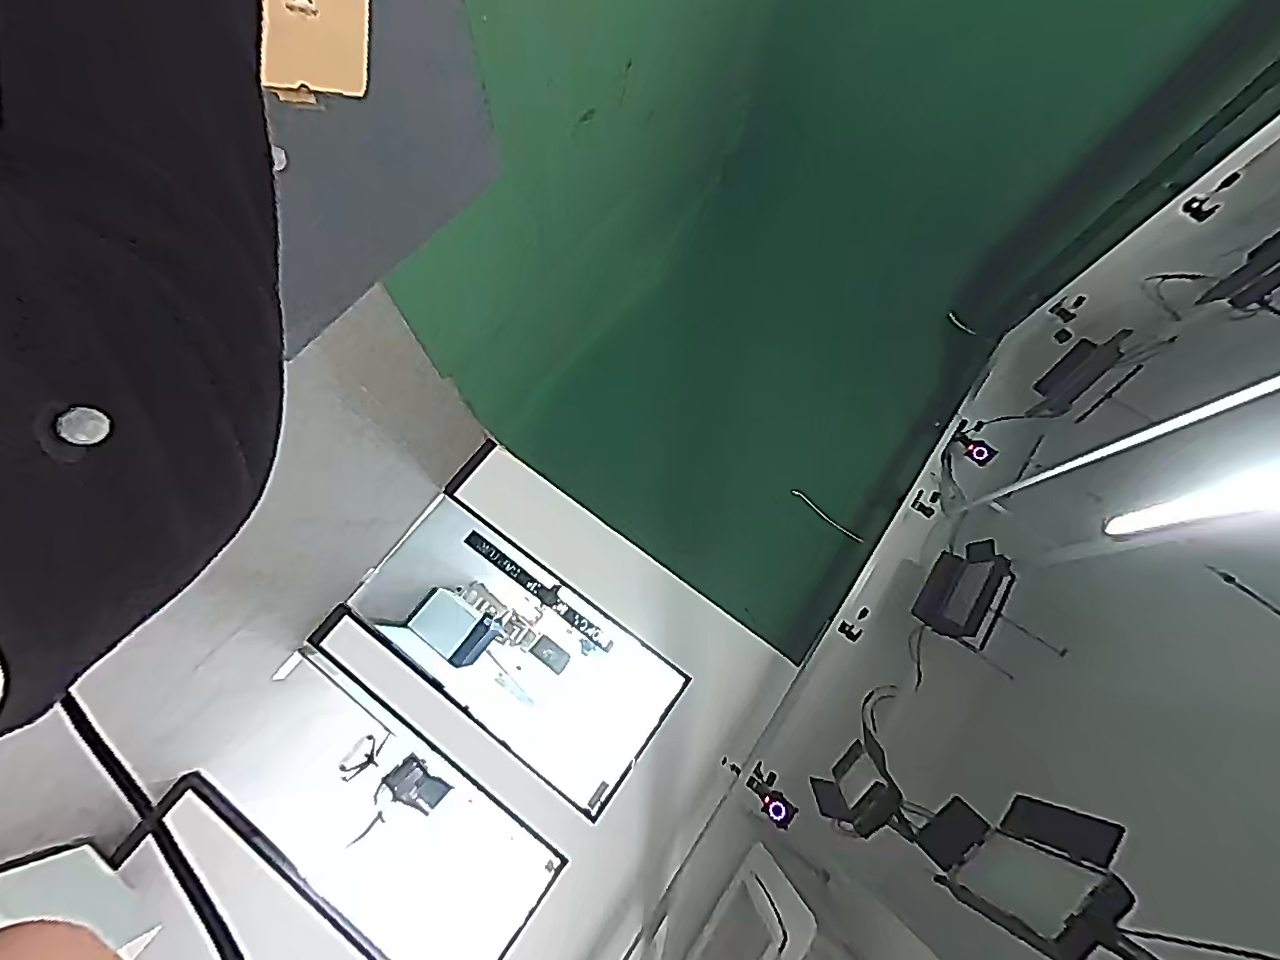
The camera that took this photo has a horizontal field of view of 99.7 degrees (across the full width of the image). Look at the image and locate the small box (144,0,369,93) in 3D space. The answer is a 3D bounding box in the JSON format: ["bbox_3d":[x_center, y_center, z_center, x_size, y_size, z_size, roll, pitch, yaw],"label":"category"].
[{"bbox_3d":[-0.416,-0.559,0.574,0.168,0.176,0.179,-40,166,-50],"label":"small box"}]
